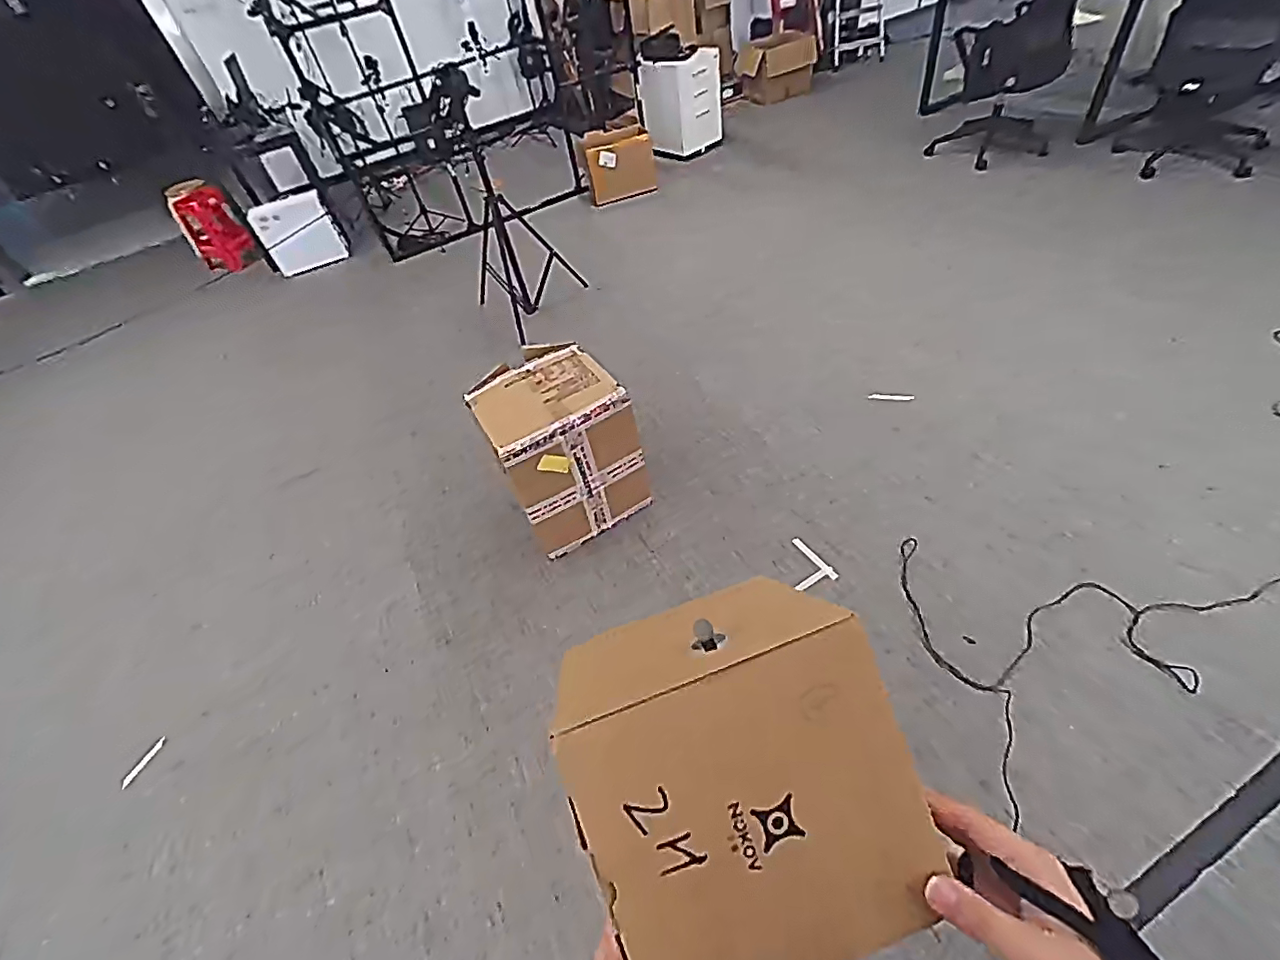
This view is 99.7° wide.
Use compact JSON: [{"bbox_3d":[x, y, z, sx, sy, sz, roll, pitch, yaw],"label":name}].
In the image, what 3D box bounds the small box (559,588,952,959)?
[{"bbox_3d":[0.055,0.184,0.363,0.179,0.176,0.168,-19,88,-6],"label":"small box"}]
